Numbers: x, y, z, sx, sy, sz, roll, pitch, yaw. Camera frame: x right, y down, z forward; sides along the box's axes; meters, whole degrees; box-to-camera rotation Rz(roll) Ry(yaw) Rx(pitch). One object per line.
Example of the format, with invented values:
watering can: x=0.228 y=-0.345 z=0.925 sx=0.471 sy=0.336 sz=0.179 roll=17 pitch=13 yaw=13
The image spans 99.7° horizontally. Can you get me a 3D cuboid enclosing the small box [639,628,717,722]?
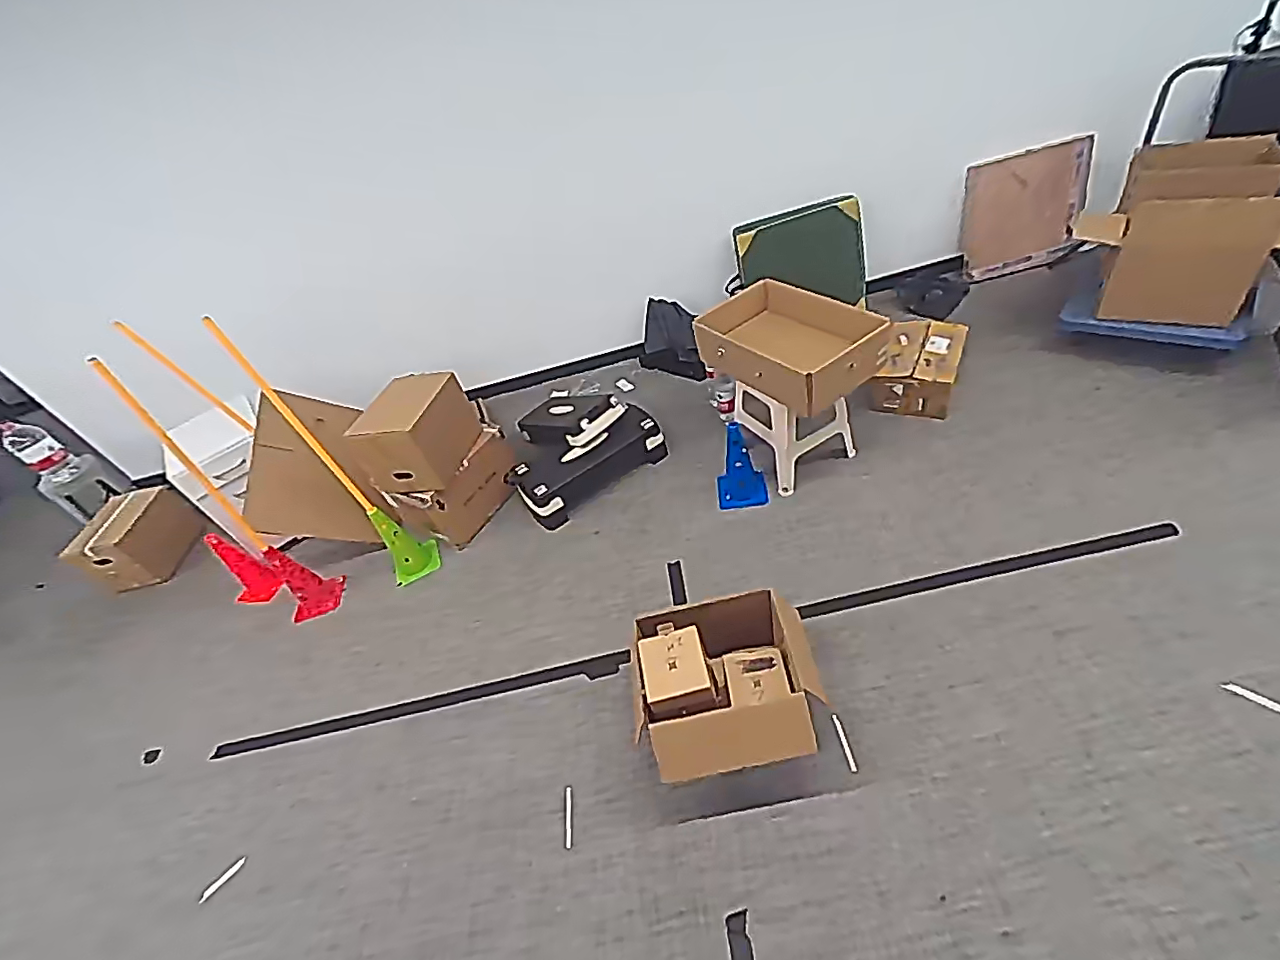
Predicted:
small box: x=0.104 y=0.533 z=1.459 sx=0.168 sy=0.176 sz=0.179 roll=-15 pitch=43 yaw=3
